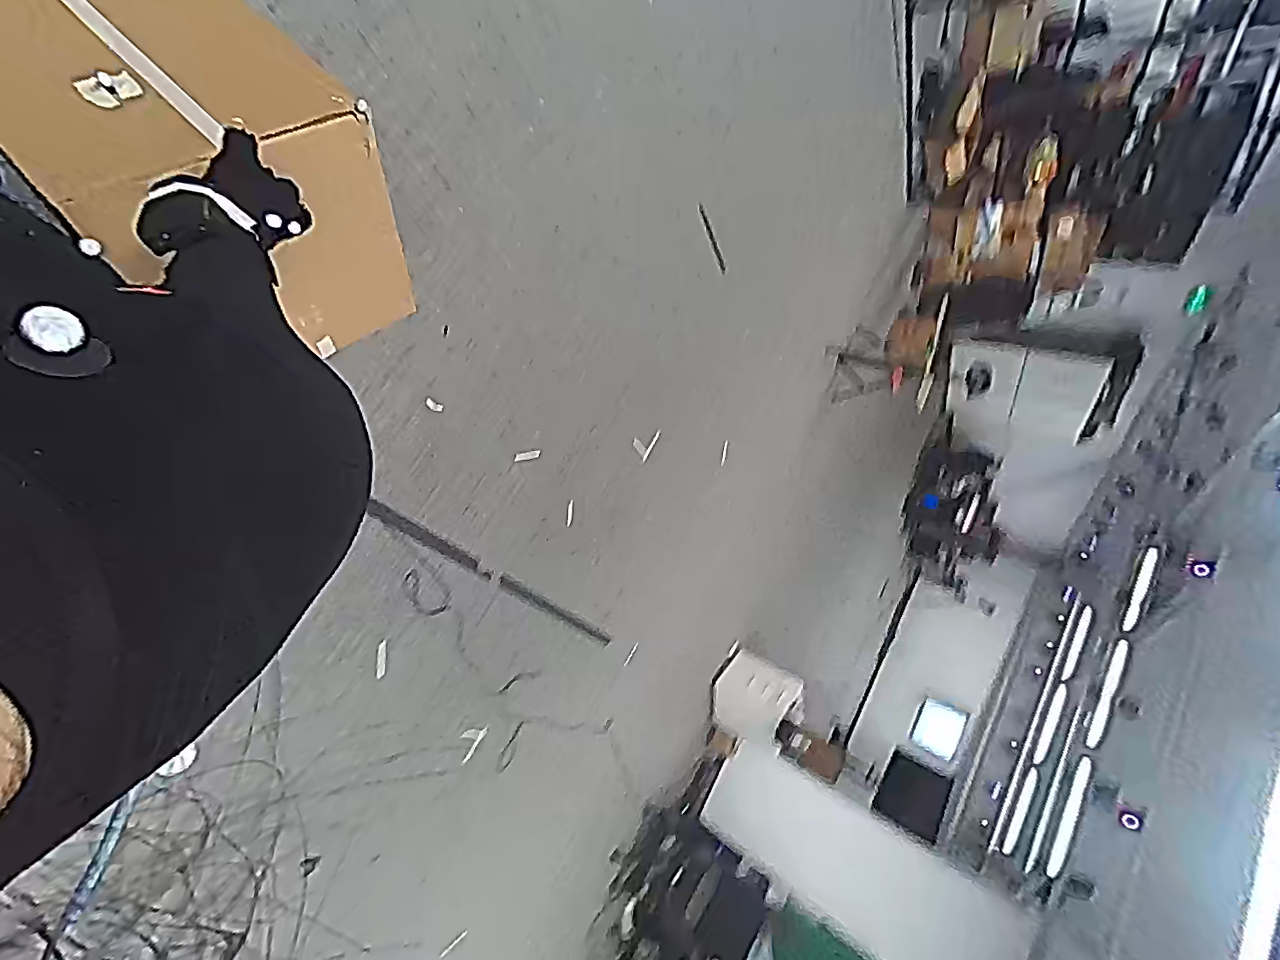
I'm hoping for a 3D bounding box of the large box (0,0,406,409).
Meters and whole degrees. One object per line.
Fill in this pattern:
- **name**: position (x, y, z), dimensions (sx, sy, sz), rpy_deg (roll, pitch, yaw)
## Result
- **large box**: position (-0.591, -0.379, 0.727), dimensions (0.320, 0.408, 0.320), rpy_deg (-41, 167, -27)
